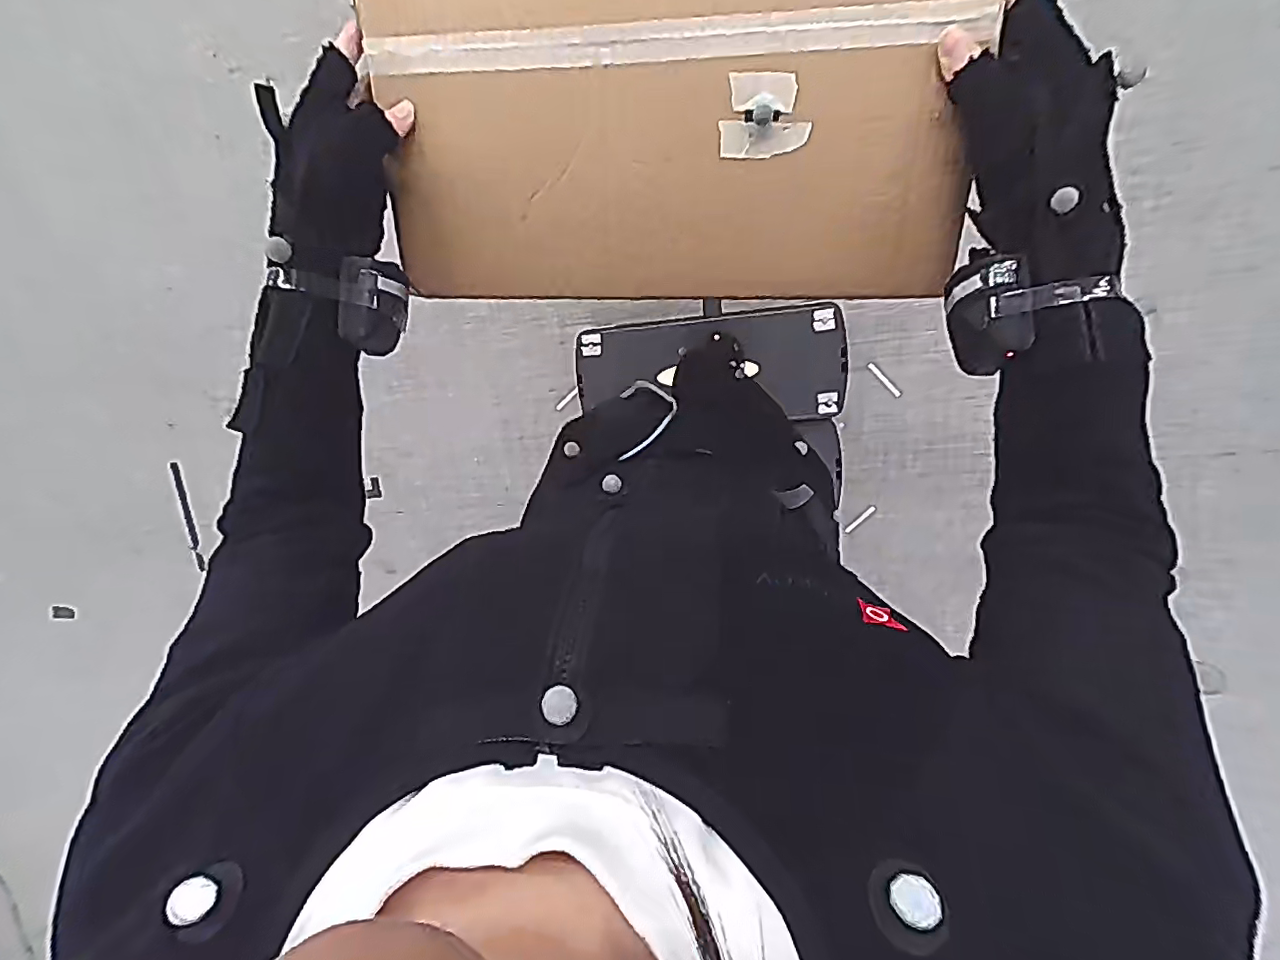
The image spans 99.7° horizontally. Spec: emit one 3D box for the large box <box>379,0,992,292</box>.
[{"bbox_3d":[0.035,-0.348,0.492,0.408,0.320,0.320,2,113,7],"label":"large box"}]

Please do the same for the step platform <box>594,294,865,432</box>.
[{"bbox_3d":[0.221,-0.300,1.417,0.684,0.204,0.286,-5,104,9],"label":"step platform"}]
